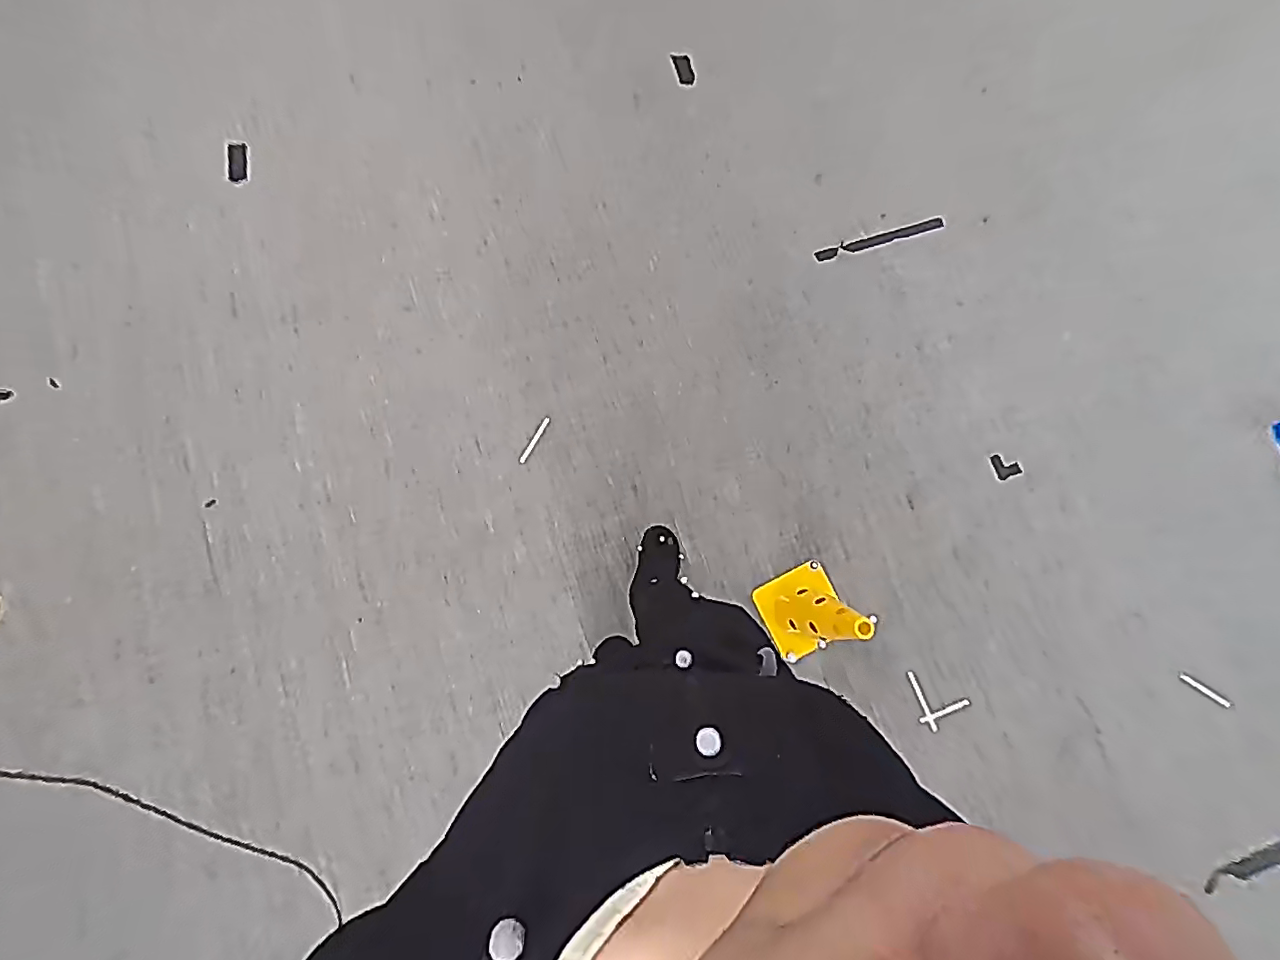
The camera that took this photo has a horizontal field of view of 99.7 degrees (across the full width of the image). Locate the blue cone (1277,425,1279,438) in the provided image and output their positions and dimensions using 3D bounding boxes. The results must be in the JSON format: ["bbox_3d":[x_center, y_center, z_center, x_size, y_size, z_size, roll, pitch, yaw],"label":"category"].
[{"bbox_3d":[1.889,-0.121,1.335,0.193,0.380,0.192,-19,81,-5],"label":"blue cone"}]
